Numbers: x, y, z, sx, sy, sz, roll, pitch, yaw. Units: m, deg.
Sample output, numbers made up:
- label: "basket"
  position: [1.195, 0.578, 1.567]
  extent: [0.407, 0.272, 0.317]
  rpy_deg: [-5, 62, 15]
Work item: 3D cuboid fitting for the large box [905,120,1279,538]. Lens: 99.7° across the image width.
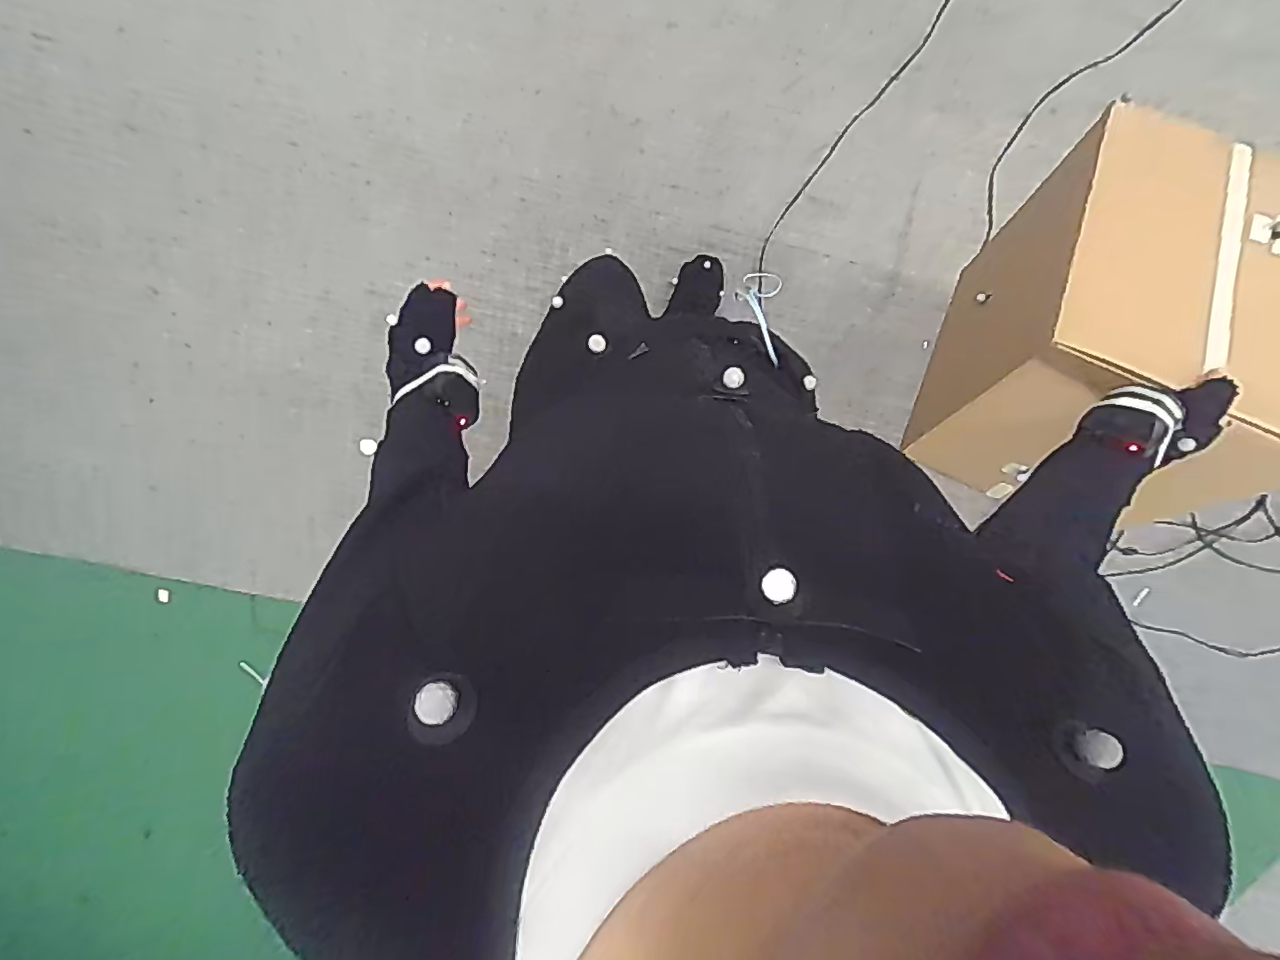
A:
- label: "large box"
  position: [0.636, -0.185, 0.758]
  extent: [0.320, 0.320, 0.408]
  rpy_deg: [26, 70, 4]
